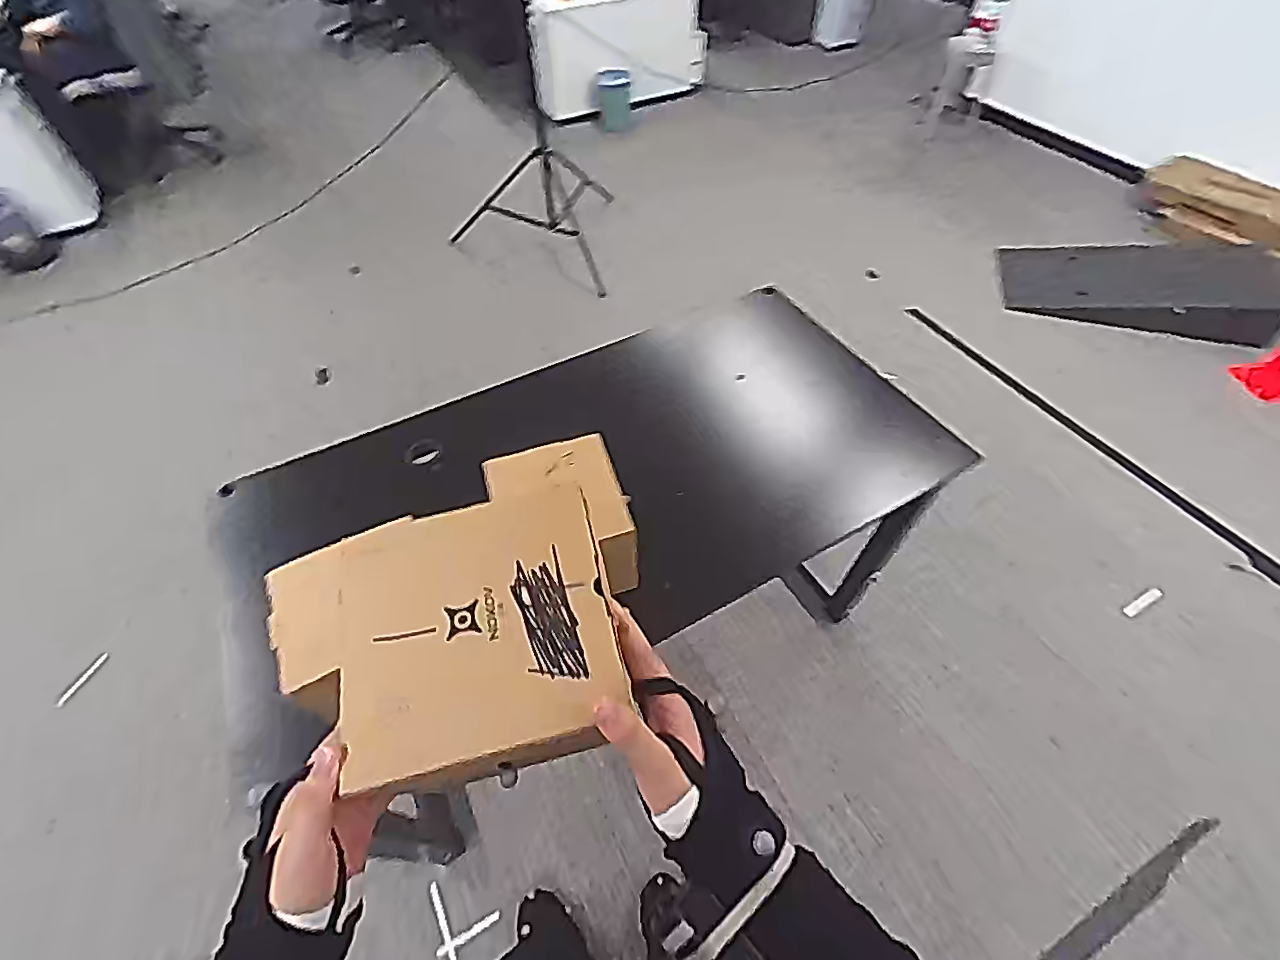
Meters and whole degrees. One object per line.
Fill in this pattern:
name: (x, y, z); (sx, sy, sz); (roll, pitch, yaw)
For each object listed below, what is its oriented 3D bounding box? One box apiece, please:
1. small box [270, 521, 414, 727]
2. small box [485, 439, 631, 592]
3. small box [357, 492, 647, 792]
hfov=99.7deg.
small box: (-0.334, 0.190, 0.699); (0.179, 0.176, 0.168); (-24, 56, -16)
small box: (-0.113, 0.074, 0.783); (0.168, 0.176, 0.179); (-15, 53, -11)
small box: (-0.096, 0.133, 0.429); (0.179, 0.176, 0.168); (-13, 61, -5)
